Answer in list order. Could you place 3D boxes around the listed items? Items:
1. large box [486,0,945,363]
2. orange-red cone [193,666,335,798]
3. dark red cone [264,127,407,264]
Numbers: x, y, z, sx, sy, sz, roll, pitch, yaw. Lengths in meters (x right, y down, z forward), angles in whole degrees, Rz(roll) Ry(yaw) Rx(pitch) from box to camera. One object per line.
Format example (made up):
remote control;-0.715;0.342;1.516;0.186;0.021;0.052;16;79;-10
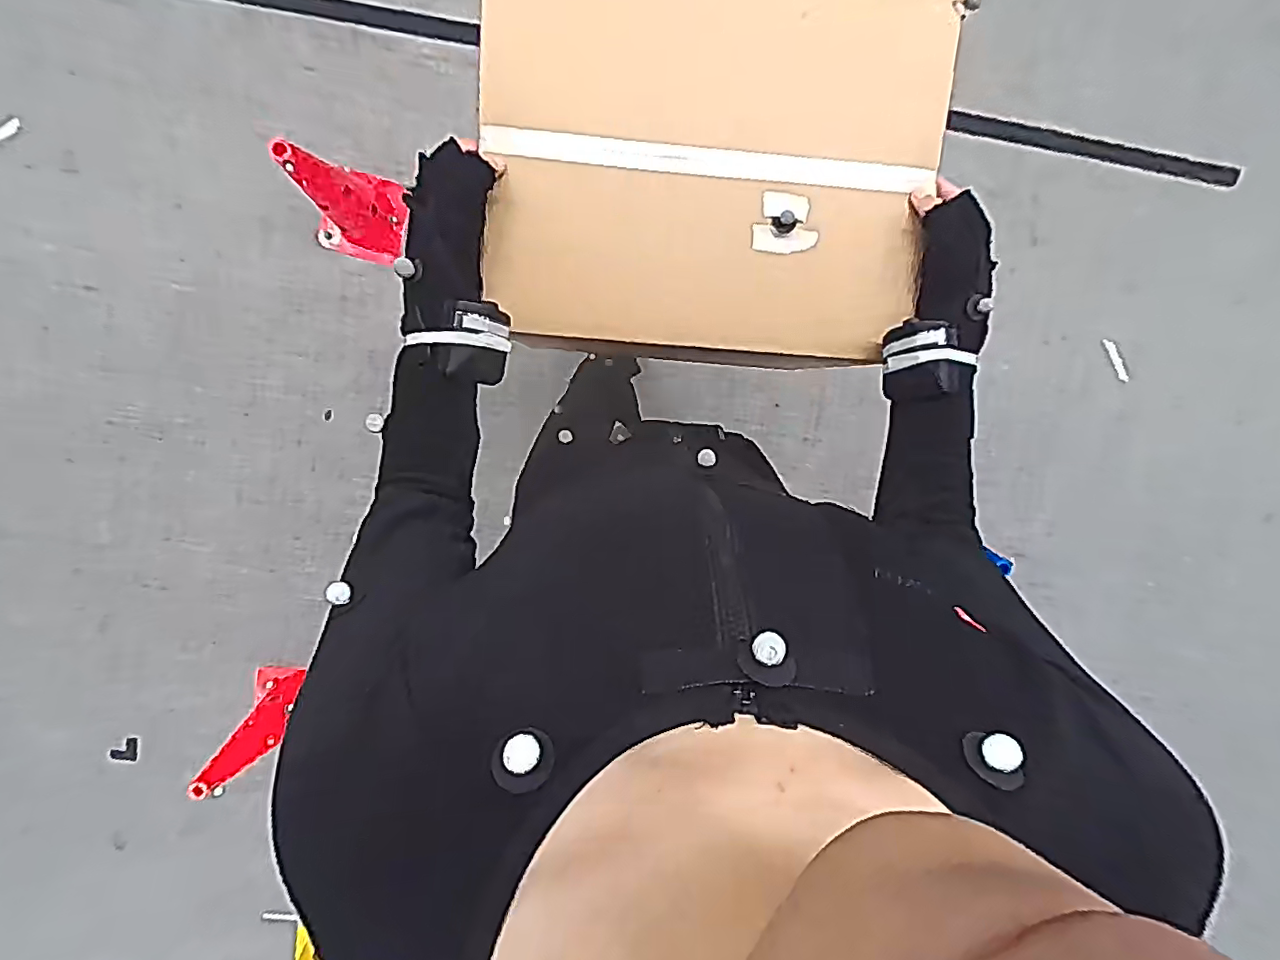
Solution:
large box;0.052;-0.310;0.629;0.408;0.320;0.320;3;100;-5
orange-red cone;-0.933;0.636;1.317;0.198;0.360;0.199;6;98;-3
dark red cone;-0.665;-0.626;1.148;0.201;0.394;0.202;14;96;-6
